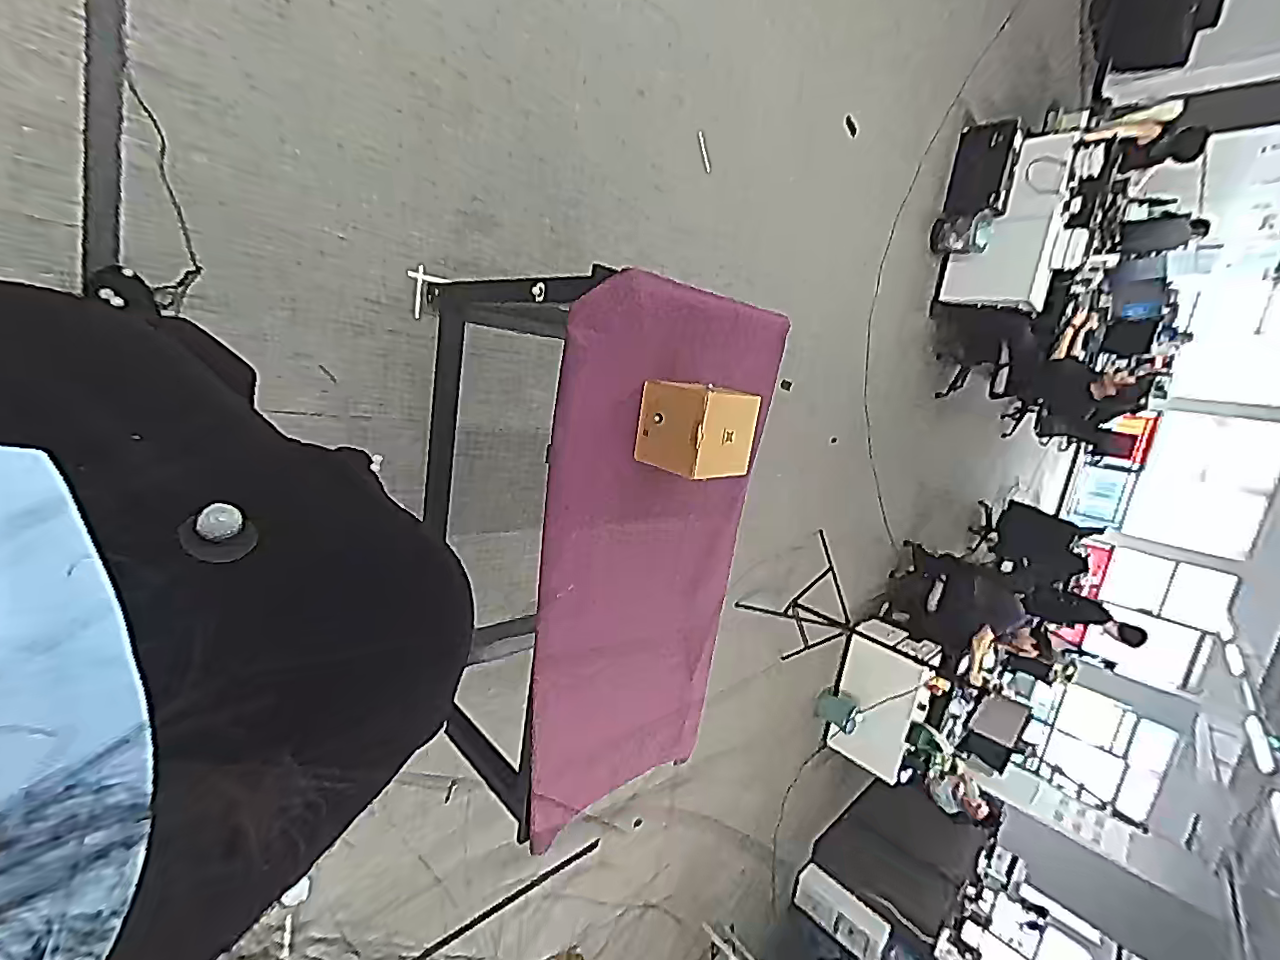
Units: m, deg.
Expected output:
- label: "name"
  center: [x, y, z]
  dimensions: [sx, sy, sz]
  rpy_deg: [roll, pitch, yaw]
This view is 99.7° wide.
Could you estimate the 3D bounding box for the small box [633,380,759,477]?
- label: "small box"
  center: [0.113, -0.110, 1.113]
  dimensions: [0.179, 0.176, 0.168]
  rpy_deg: [-5, 109, -44]
